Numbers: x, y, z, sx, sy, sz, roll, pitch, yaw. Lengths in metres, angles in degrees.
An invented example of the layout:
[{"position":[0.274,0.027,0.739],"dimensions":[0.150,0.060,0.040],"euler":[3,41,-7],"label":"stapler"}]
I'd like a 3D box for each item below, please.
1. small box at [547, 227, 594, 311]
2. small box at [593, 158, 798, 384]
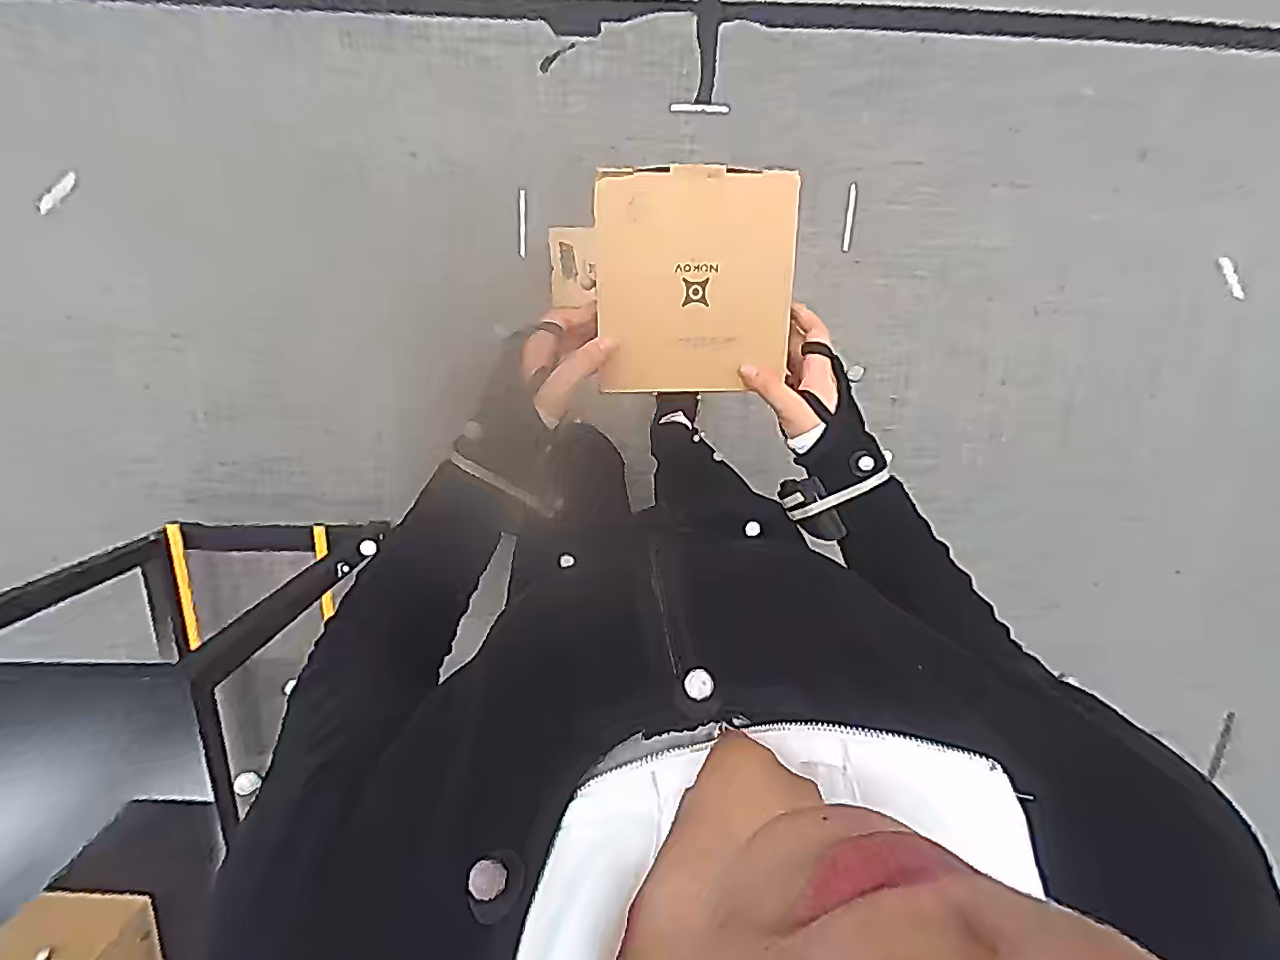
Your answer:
[{"position":[-0.115,-0.487,1.266],"dimensions":[0.179,0.176,0.168],"euler":[-1,105,-2],"label":"small box"},{"position":[0.039,-0.192,0.524],"dimensions":[0.168,0.176,0.179],"euler":[-1,109,-4],"label":"small box"}]
